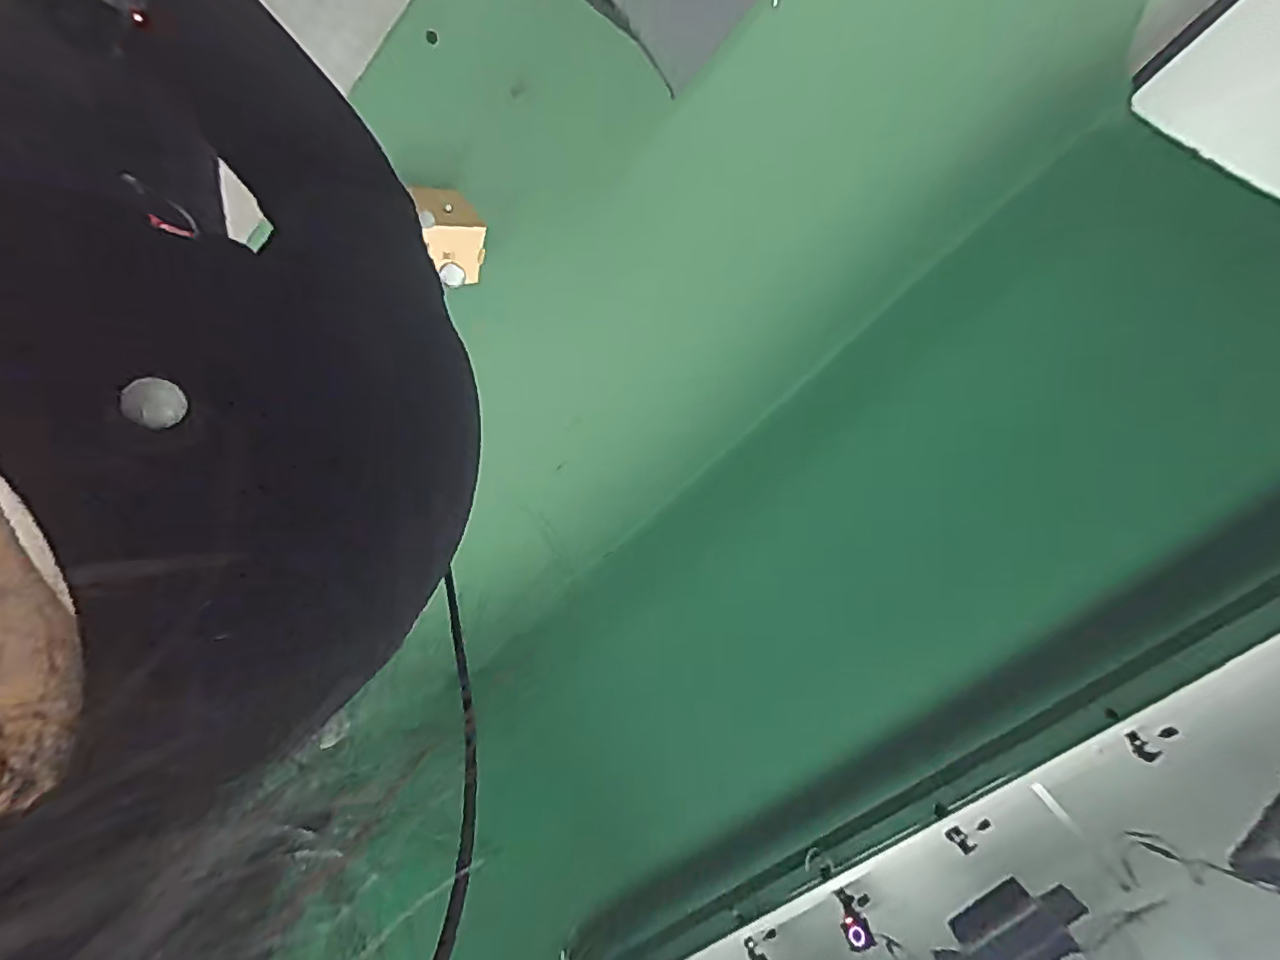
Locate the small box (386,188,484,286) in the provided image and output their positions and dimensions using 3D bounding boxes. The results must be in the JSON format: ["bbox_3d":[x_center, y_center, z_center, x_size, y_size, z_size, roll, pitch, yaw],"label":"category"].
[{"bbox_3d":[-0.527,-0.621,1.384,0.179,0.176,0.168,-19,153,-37],"label":"small box"}]
